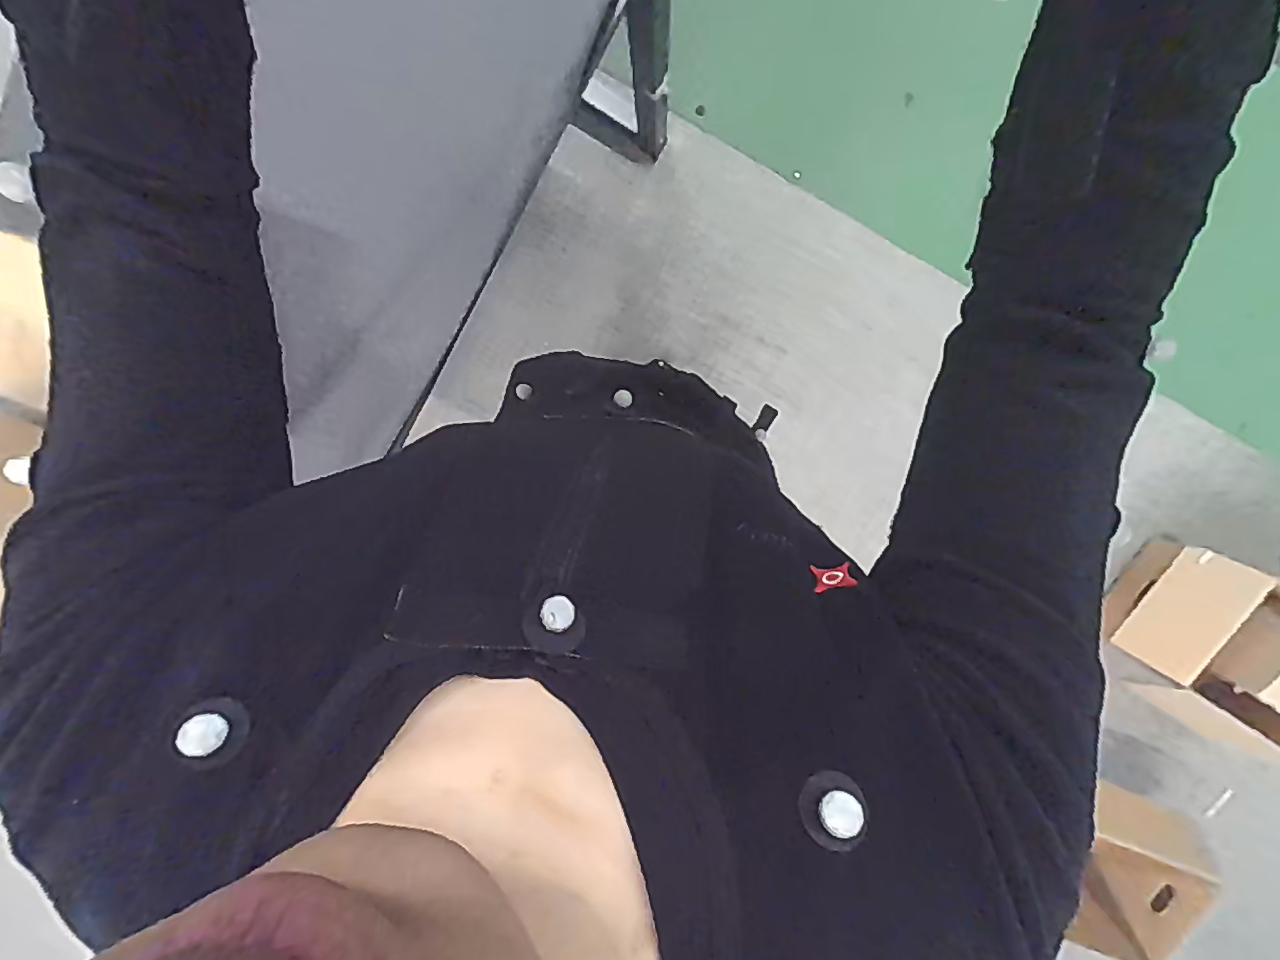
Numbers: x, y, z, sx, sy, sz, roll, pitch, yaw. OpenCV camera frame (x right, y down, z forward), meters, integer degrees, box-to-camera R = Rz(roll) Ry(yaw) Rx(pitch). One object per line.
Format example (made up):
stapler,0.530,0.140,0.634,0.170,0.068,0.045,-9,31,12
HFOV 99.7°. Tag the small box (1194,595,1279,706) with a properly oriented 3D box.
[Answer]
small box,1.447,0.398,1.238,0.168,0.176,0.179,28,105,-7
